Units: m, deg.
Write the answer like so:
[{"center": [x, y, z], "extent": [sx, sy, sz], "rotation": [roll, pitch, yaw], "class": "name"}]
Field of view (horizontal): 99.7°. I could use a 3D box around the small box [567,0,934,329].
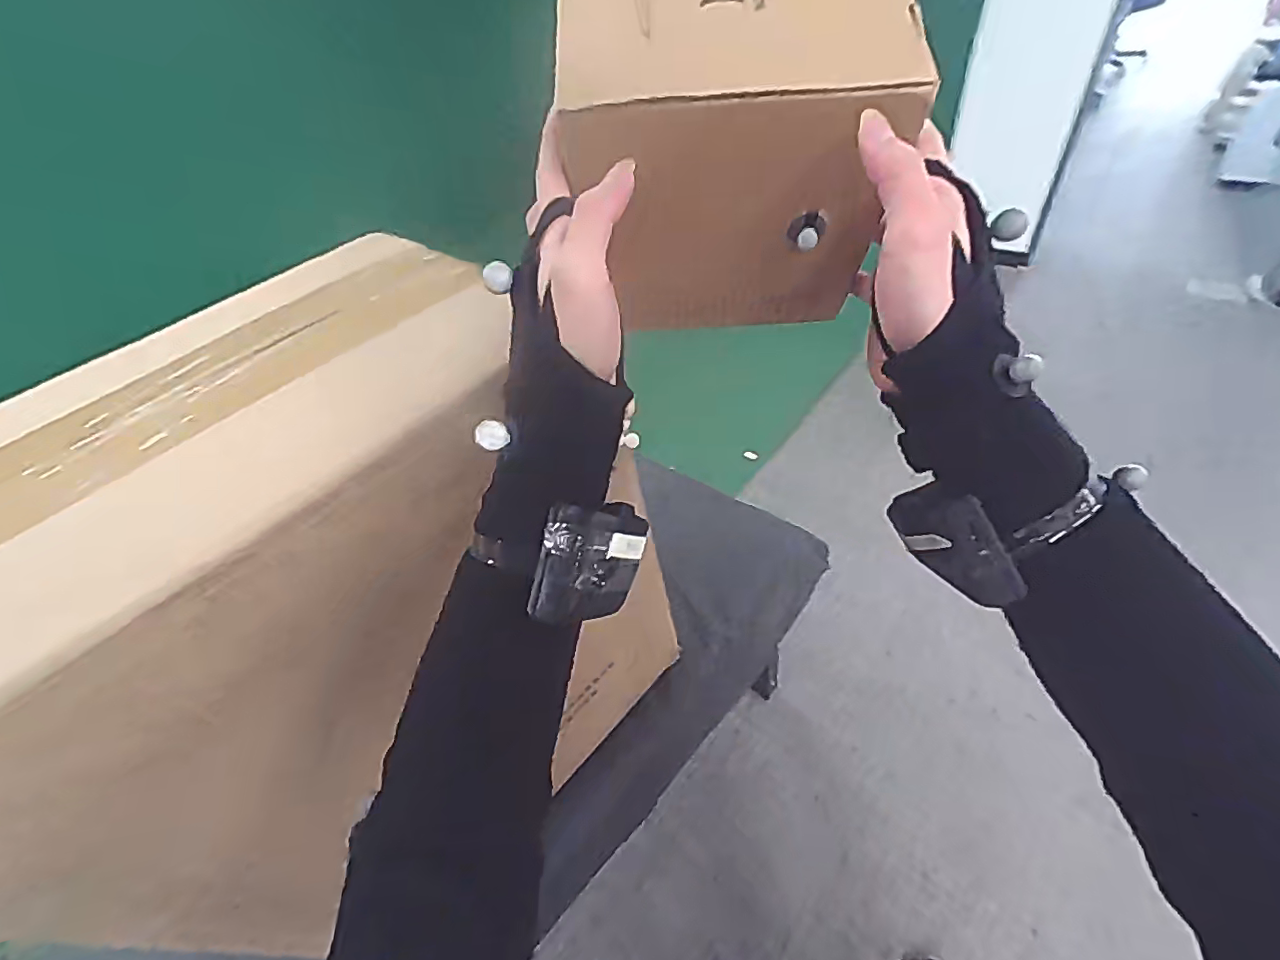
[{"center": [0.056, -0.219, 0.358], "extent": [0.179, 0.176, 0.168], "rotation": [-2, 68, 4], "class": "small box"}]
